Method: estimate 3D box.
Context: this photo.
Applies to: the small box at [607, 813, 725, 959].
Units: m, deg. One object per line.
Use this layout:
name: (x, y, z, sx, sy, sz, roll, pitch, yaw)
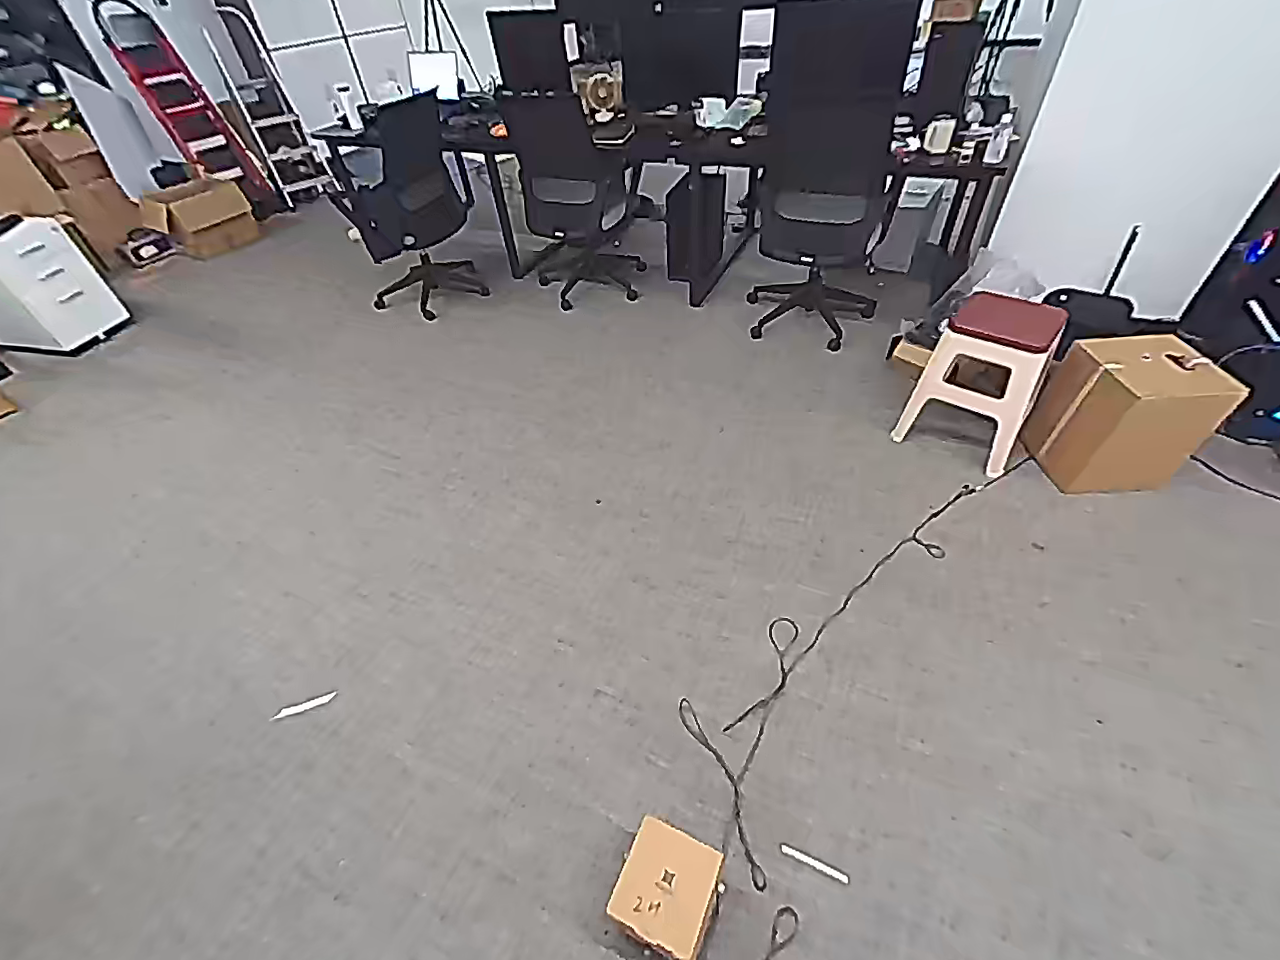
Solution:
small box: (0.056, 0.789, 1.038, 0.168, 0.176, 0.179, 15, 48, 23)
